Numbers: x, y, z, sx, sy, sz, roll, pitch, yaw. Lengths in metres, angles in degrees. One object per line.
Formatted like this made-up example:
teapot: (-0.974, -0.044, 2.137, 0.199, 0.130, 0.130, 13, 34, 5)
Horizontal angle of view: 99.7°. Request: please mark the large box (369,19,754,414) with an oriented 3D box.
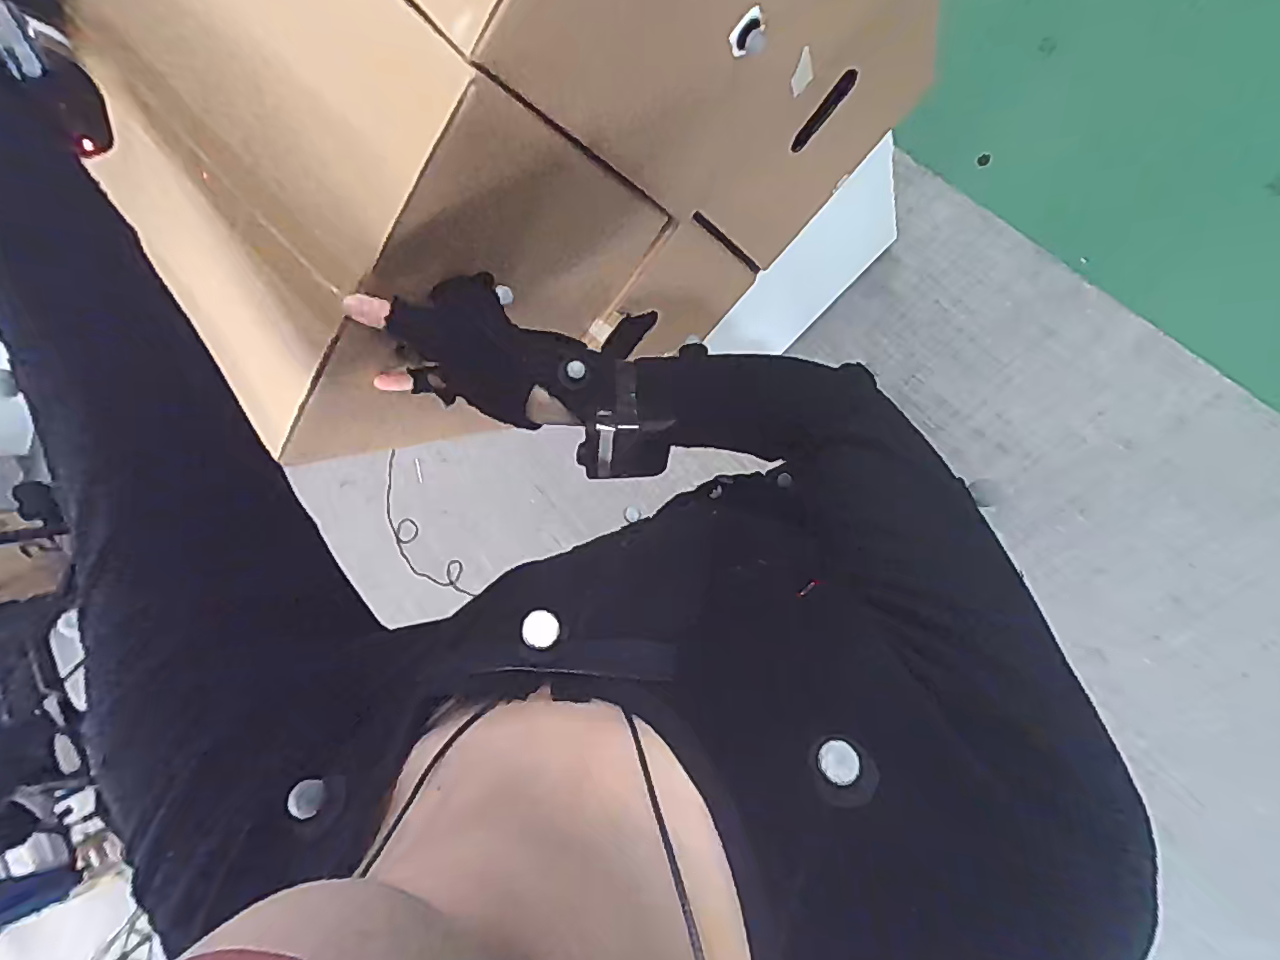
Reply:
large box: (-0.105, -0.341, 0.805, 0.408, 0.320, 0.320, 48, 113, 14)
